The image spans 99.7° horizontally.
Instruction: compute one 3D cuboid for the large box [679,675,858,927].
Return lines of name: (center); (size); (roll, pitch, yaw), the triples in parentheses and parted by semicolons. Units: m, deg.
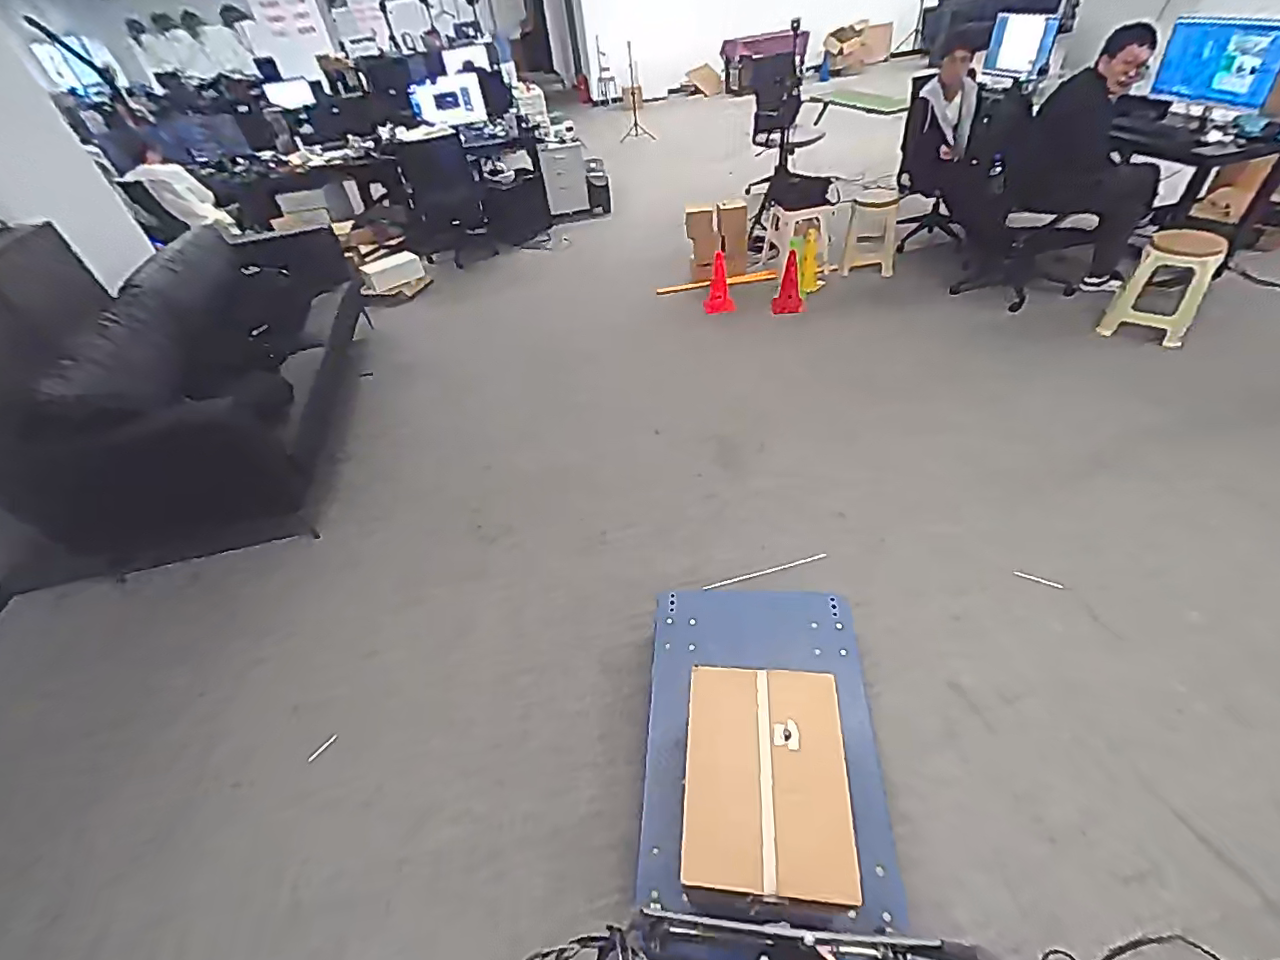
large box: (0.259, 0.691, 1.178); (0.320, 0.320, 0.408); (1, 47, 9)
